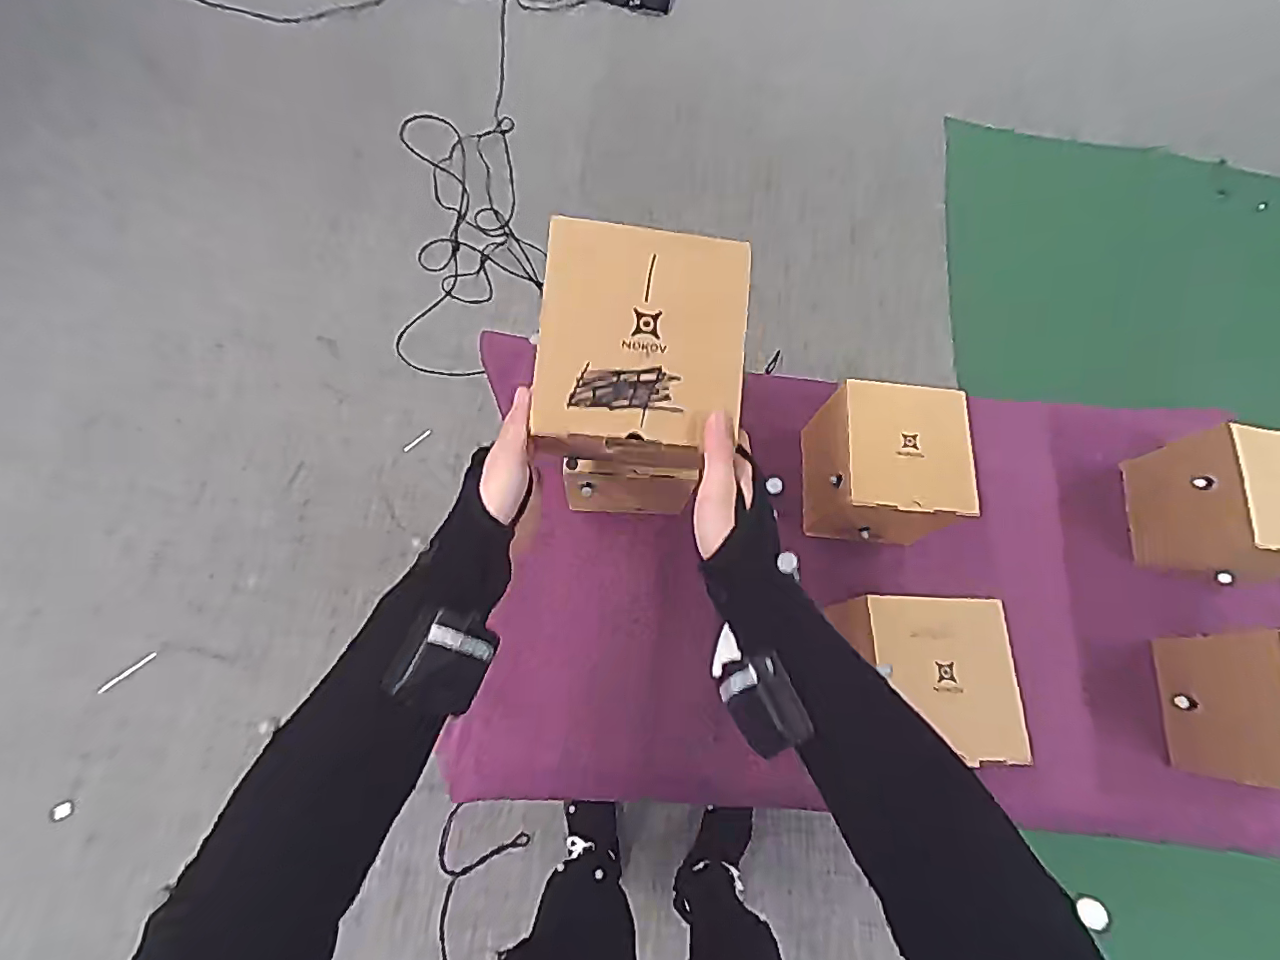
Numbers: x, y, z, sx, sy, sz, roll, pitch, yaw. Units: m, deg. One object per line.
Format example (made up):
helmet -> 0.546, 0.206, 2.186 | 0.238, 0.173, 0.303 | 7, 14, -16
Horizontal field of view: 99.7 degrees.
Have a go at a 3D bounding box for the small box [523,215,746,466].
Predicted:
small box -> -0.008, -0.111, 0.507 | 0.168, 0.176, 0.179 | 5, 84, -5

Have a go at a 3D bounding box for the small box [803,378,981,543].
small box -> 0.337, -0.019, 0.759 | 0.168, 0.176, 0.179 | 5, 72, -2

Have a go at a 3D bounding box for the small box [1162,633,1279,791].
small box -> 0.819, 0.299, 0.677 | 0.168, 0.176, 0.179 | 11, 70, 0

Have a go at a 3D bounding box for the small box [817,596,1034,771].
small box -> 0.331, 0.245, 0.667 | 0.168, 0.176, 0.179 | 3, 70, -3

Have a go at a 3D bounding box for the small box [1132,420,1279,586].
small box -> 0.854, 0.040, 0.768 | 0.168, 0.176, 0.179 | 11, 71, 1
